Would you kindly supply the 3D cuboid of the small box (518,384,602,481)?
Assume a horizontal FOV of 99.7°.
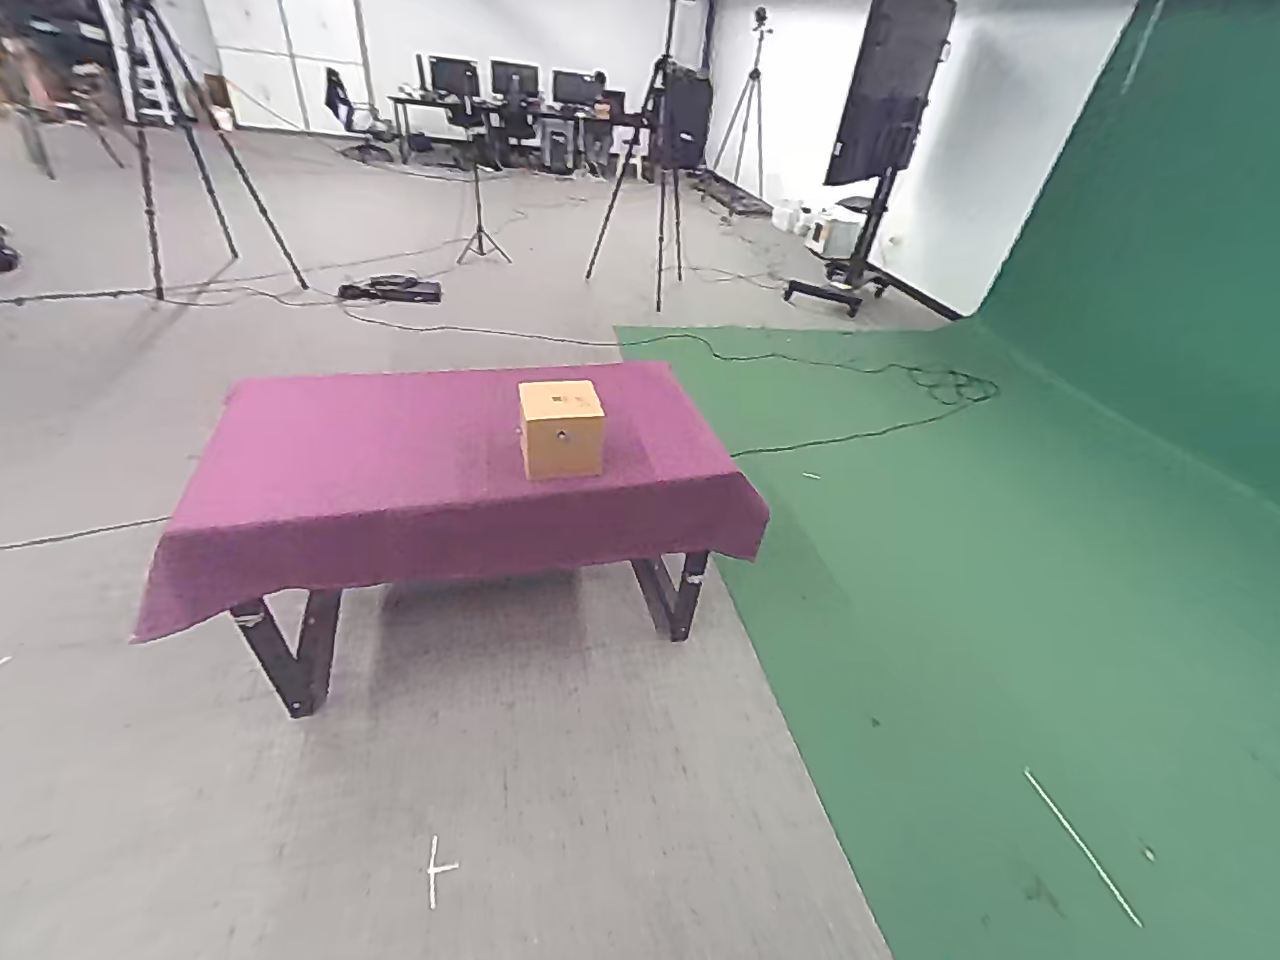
[{"bbox_3d":[-0.192,-0.112,1.283,0.179,0.176,0.168,-4,40,-15],"label":"small box"}]
